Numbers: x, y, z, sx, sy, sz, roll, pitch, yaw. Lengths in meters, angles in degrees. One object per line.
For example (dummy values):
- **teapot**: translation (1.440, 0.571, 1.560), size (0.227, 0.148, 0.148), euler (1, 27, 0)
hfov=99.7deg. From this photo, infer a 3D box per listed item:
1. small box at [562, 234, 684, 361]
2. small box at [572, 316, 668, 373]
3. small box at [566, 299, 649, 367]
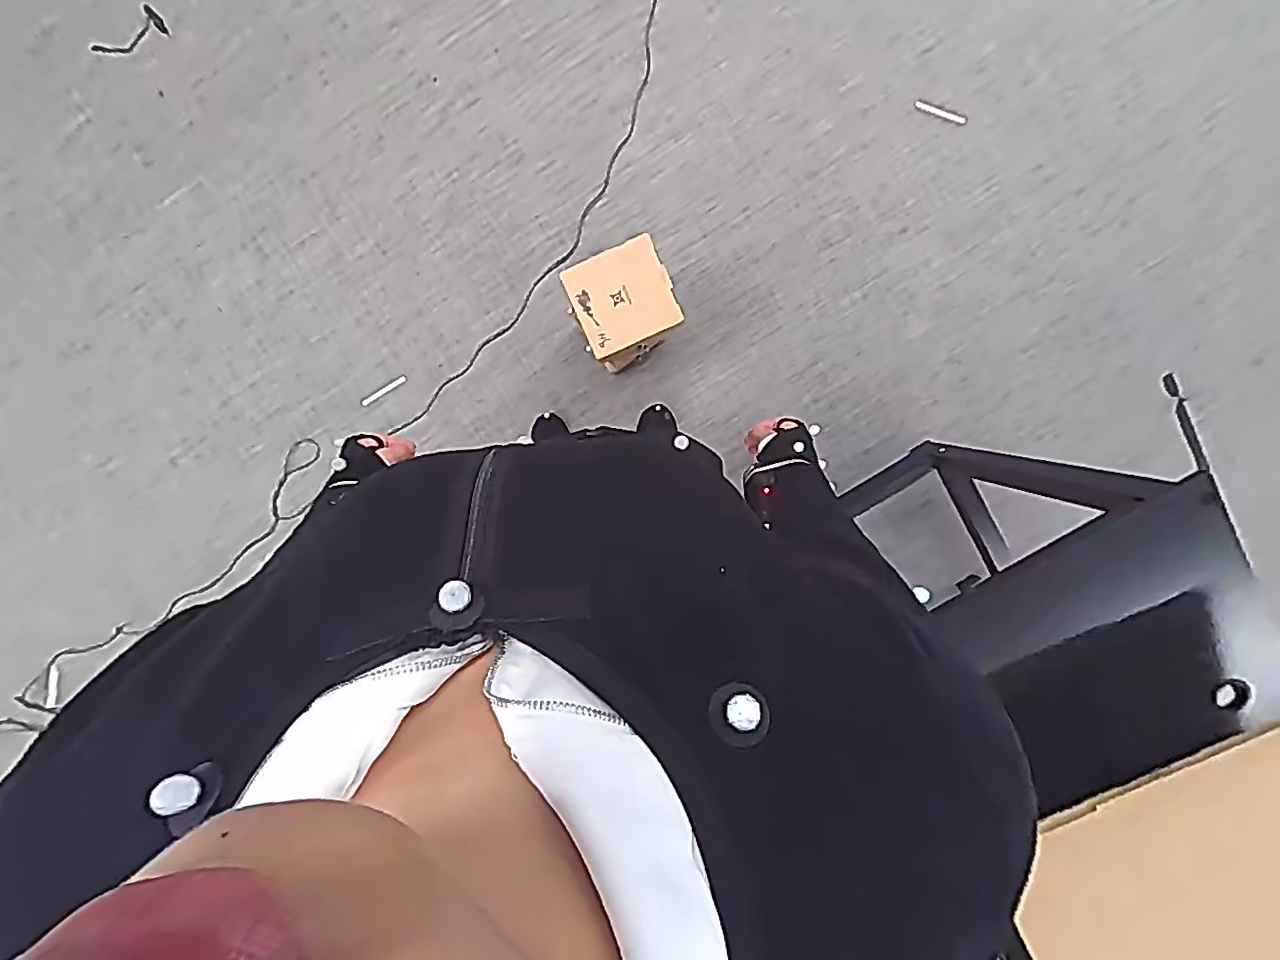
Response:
- **small box**: translation (-0.035, -0.340, 1.039), size (0.179, 0.176, 0.168), euler (-24, 99, 1)
- **small box**: translation (-0.050, -0.387, 1.362), size (0.179, 0.176, 0.168), euler (-35, 98, 5)
- **small box**: translation (-0.041, -0.367, 1.201), size (0.179, 0.176, 0.168), euler (-39, 99, 3)
